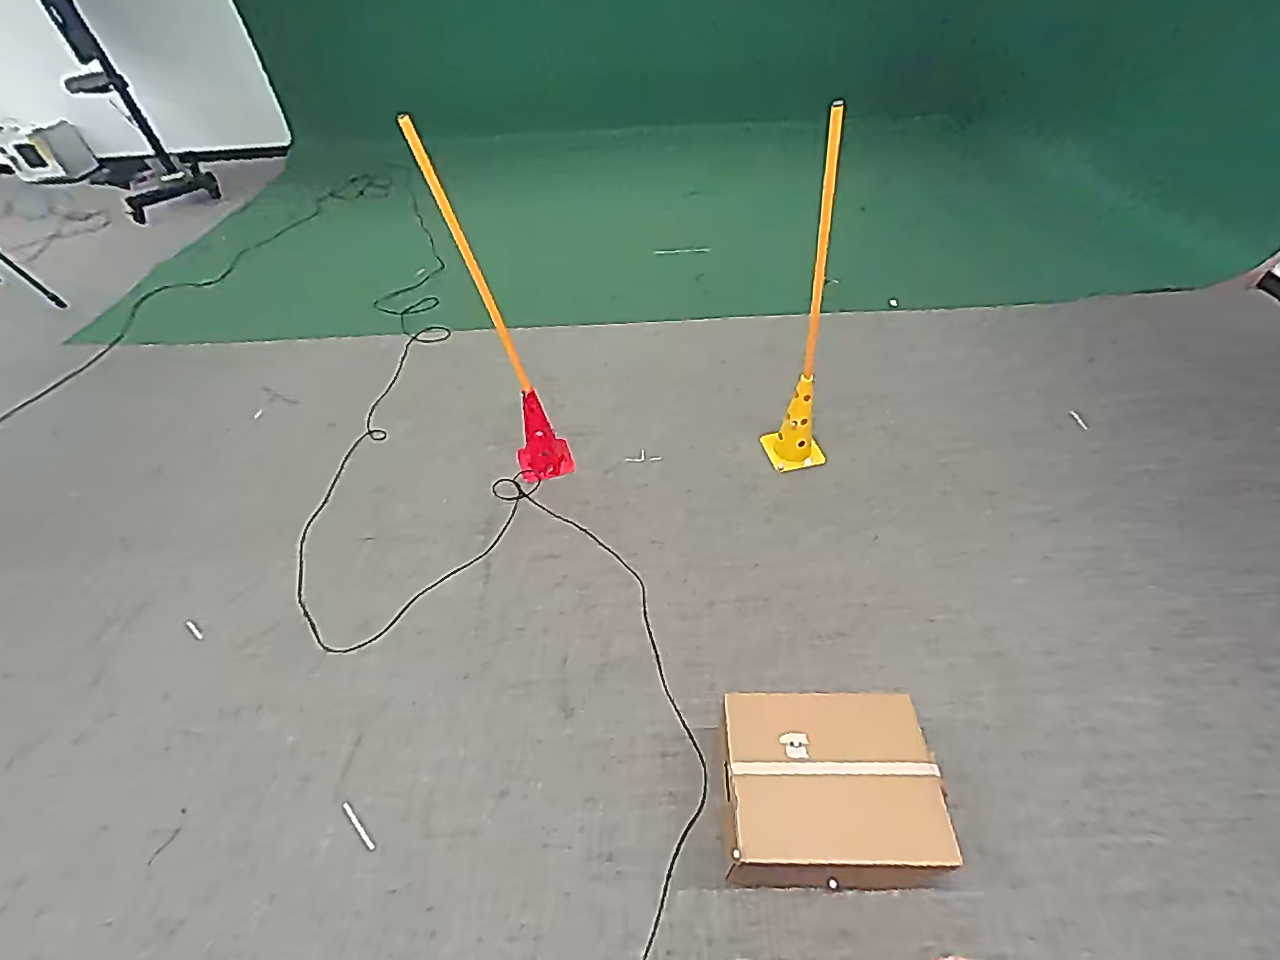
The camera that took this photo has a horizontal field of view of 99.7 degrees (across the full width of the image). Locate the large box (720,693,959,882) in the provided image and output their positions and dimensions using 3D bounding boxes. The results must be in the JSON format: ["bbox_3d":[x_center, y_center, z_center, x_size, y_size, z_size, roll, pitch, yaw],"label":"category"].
[{"bbox_3d":[0.396,0.687,1.197,0.408,0.320,0.320,-2,47,3],"label":"large box"}]
